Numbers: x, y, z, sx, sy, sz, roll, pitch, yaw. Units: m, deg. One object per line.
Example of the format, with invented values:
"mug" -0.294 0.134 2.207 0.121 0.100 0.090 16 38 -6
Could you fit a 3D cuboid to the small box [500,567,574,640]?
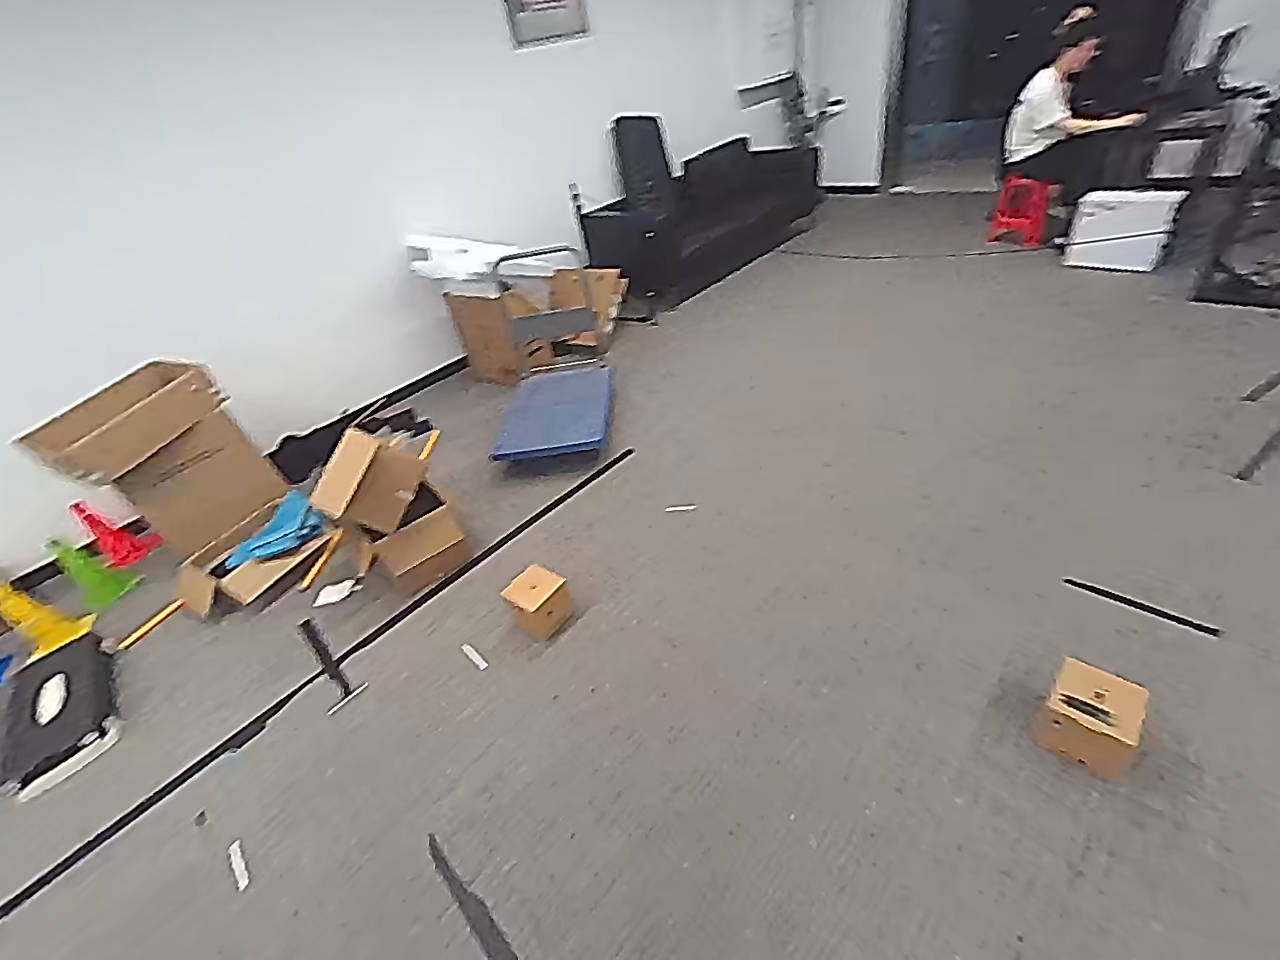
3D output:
"small box" -0.365 0.451 1.955 0.179 0.176 0.168 17 46 35
